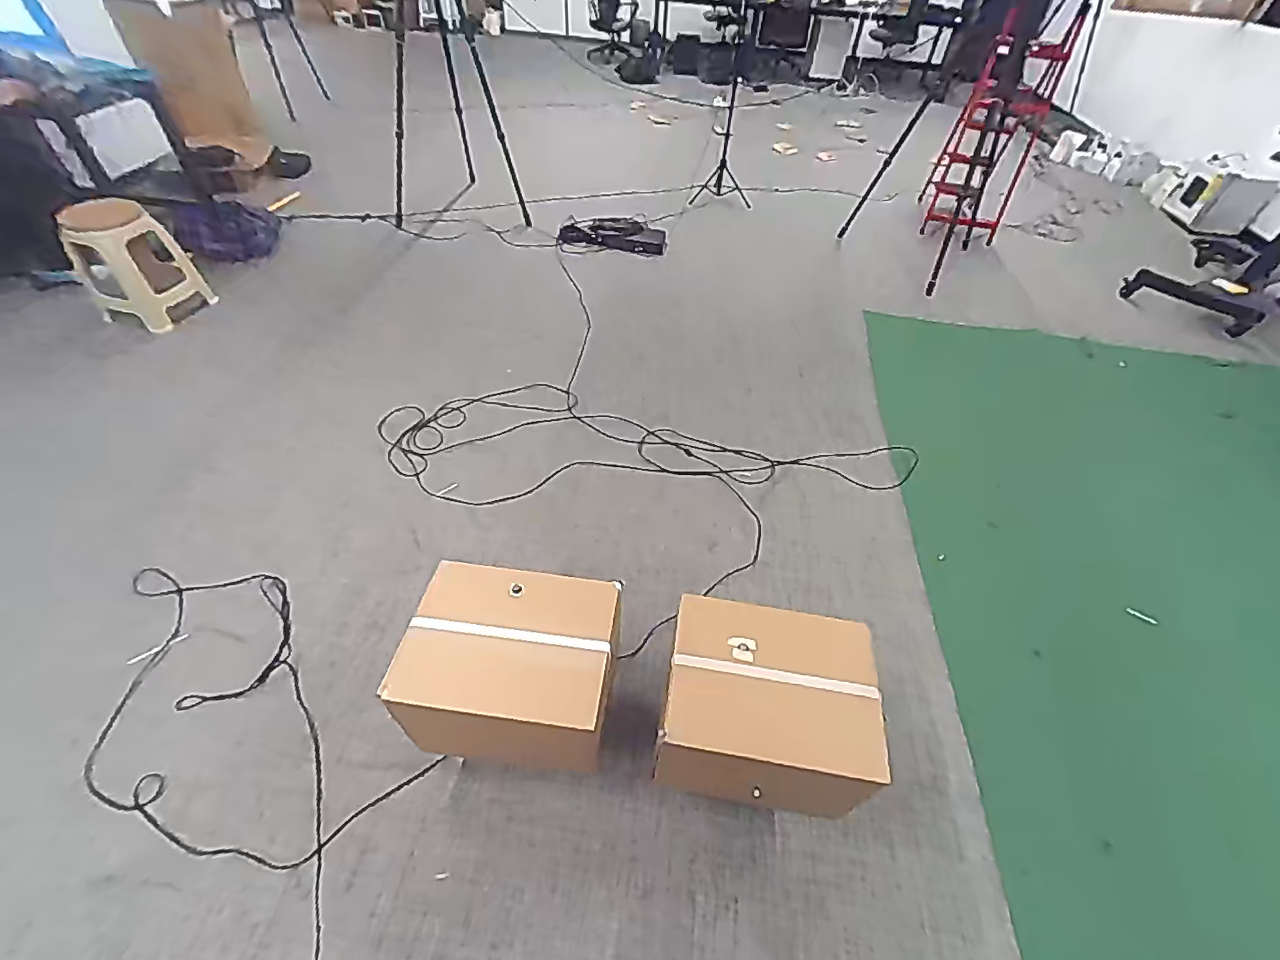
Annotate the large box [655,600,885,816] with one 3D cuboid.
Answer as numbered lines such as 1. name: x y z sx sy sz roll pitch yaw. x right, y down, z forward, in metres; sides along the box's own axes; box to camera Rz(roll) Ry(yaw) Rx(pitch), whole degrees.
1. large box: 0.259 0.500 1.179 0.408 0.320 0.320 9 47 5
